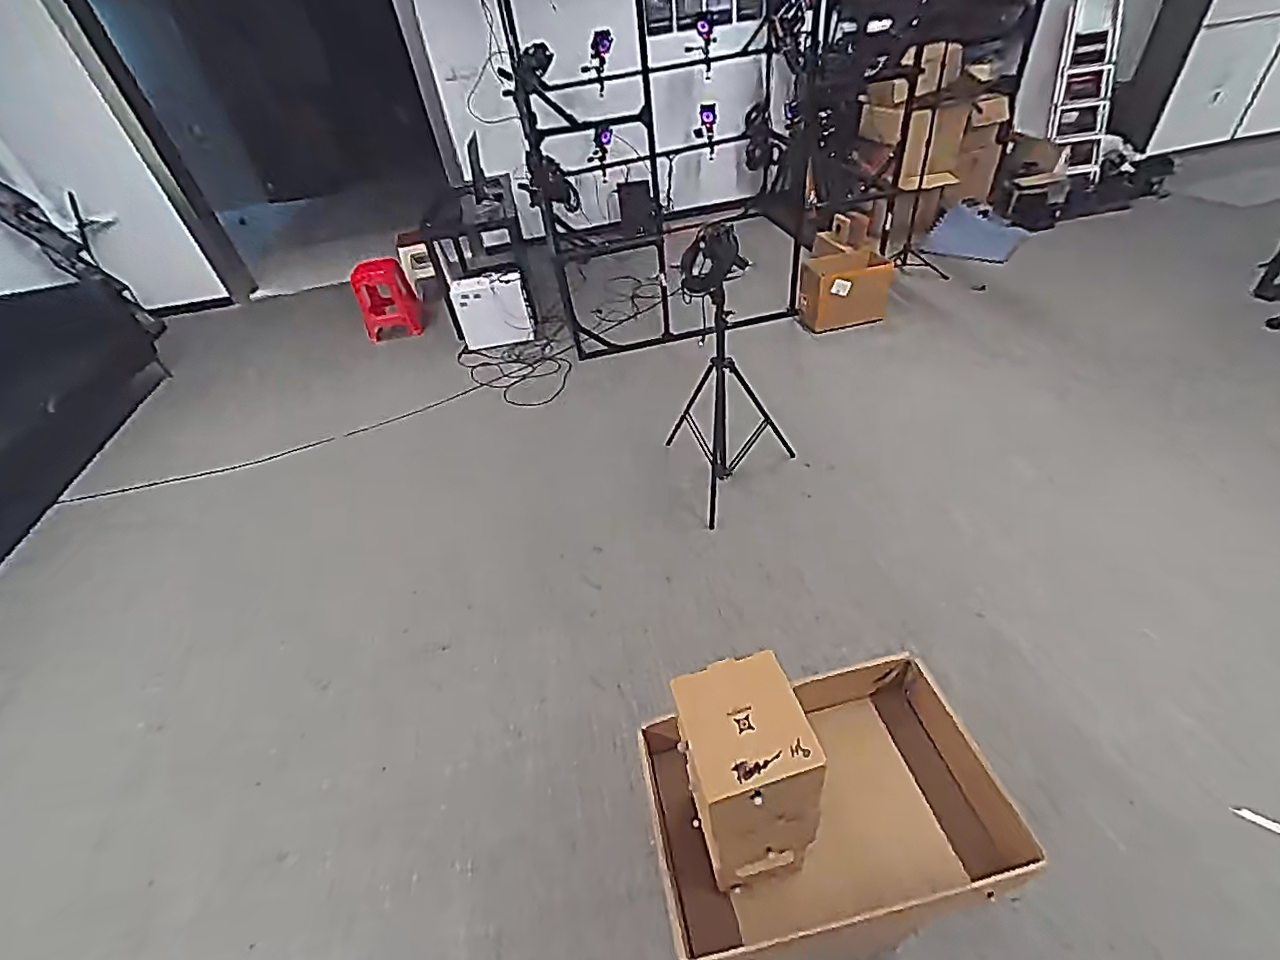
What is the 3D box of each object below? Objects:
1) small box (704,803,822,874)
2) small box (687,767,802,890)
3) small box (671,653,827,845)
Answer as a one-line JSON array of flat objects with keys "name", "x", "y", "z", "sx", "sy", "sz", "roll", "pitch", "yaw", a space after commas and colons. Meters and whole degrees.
[{"name": "small box", "x": 0.180, "y": 0.513, "z": 0.900, "sx": 0.168, "sy": 0.176, "sz": 0.179, "roll": -15, "pitch": 41, "yaw": -5}, {"name": "small box", "x": 0.196, "y": 0.634, "z": 1.010, "sx": 0.168, "sy": 0.176, "sz": 0.179, "roll": -14, "pitch": 40, "yaw": -4}, {"name": "small box", "x": 0.151, "y": 0.392, "z": 0.792, "sx": 0.168, "sy": 0.176, "sz": 0.179, "roll": -15, "pitch": 40, "yaw": -5}]
